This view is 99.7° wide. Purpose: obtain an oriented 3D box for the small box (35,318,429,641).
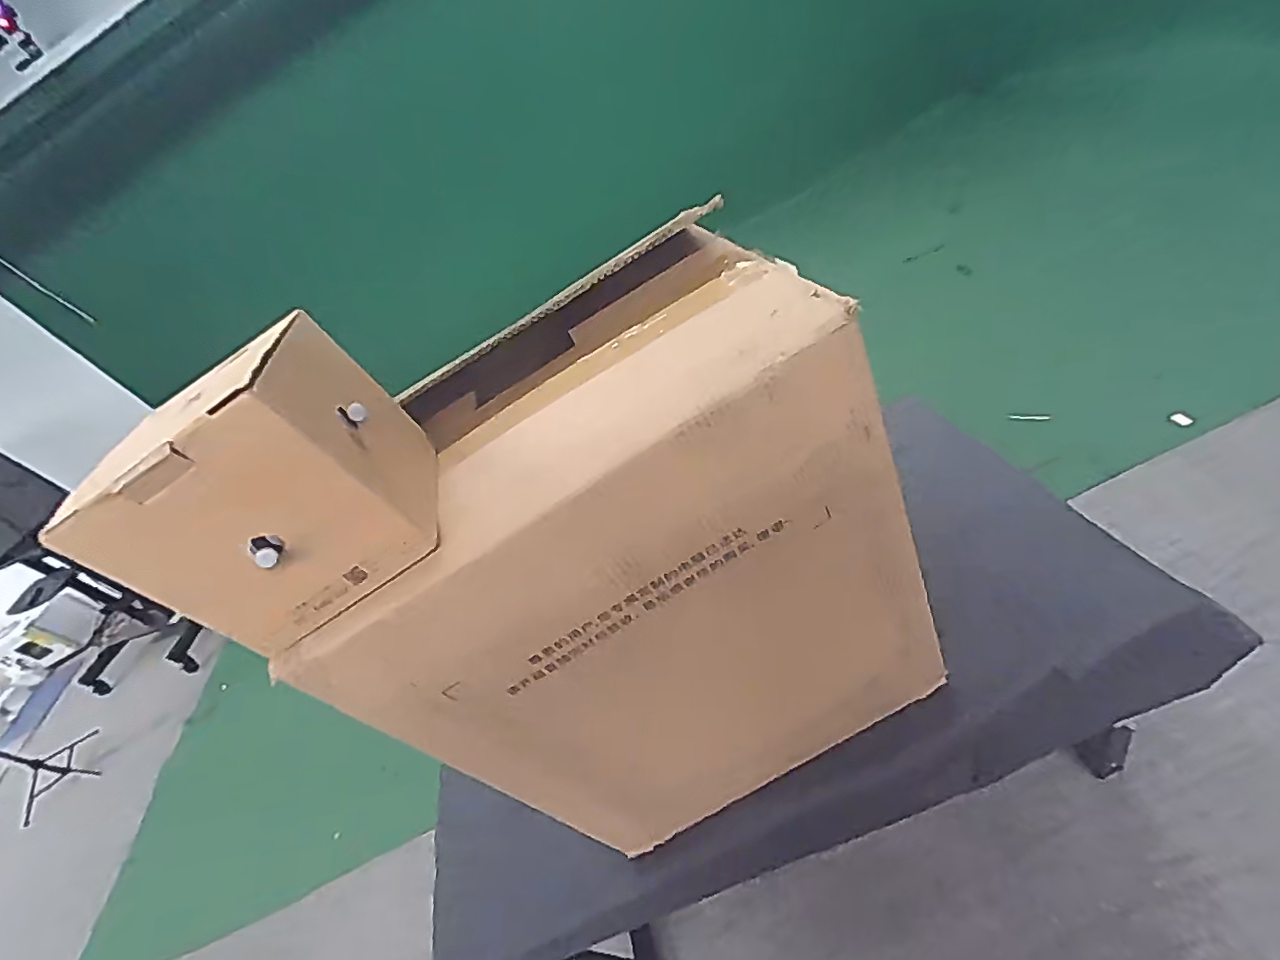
[{"bbox_3d":[-0.294,0.006,0.441,0.168,0.176,0.179,-33,38,3],"label":"small box"}]
